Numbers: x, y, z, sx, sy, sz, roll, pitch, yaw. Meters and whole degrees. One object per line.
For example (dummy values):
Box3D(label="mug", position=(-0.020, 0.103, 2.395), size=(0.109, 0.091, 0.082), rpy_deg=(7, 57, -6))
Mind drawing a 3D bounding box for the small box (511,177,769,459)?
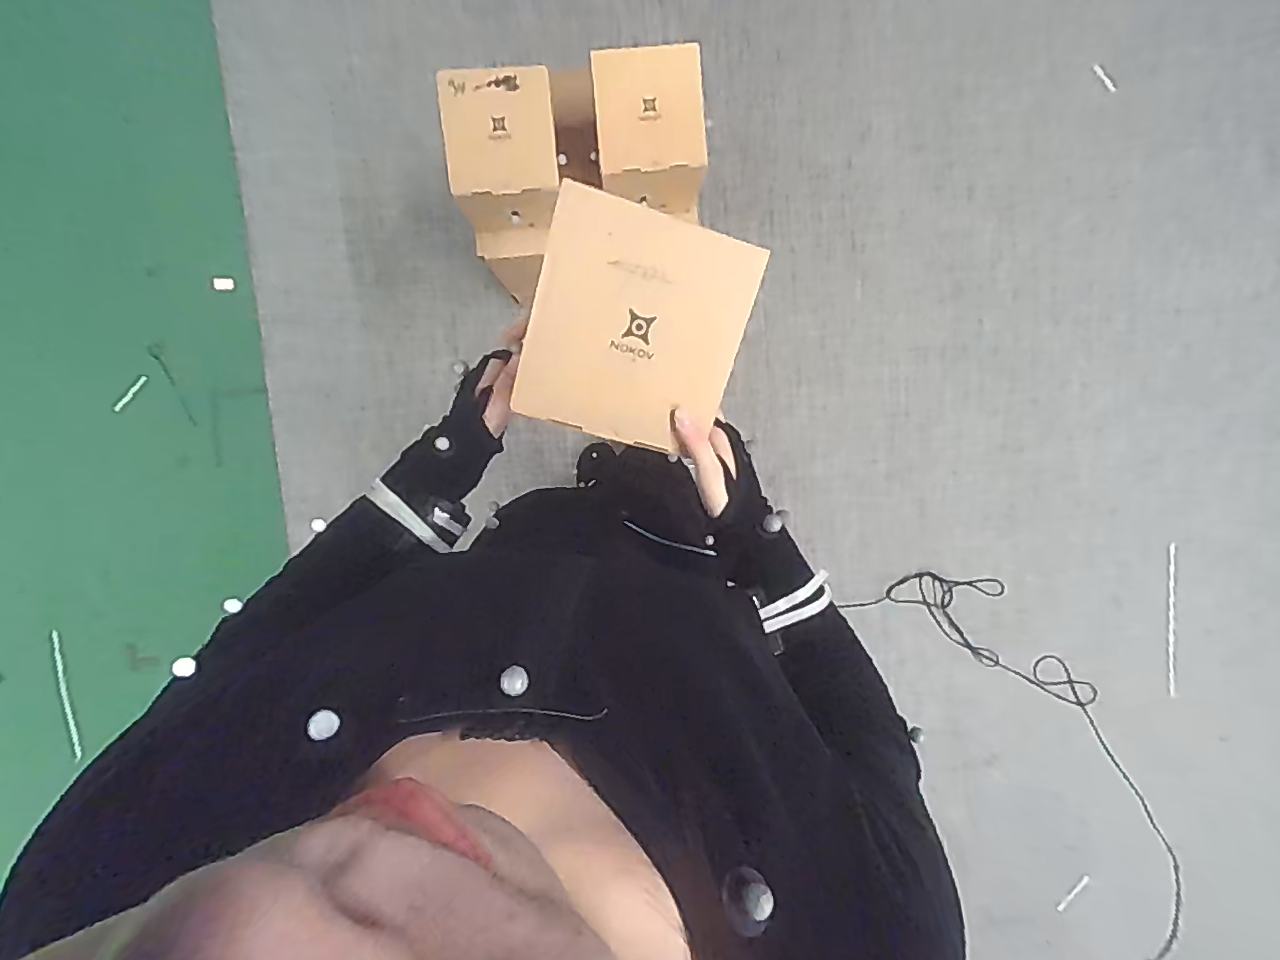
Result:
Box3D(label="small box", position=(-0.010, -0.141, 0.498), size=(0.168, 0.176, 0.179), rpy_deg=(15, 105, -12))

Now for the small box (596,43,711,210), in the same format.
Box3D(label="small box", position=(0.018, -0.566, 0.889), size=(0.168, 0.176, 0.179), rpy_deg=(-5, 97, -1))

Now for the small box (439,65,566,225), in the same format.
Box3D(label="small box", position=(-0.211, -0.529, 0.881), size=(0.168, 0.176, 0.179), rpy_deg=(-5, 98, -4))
